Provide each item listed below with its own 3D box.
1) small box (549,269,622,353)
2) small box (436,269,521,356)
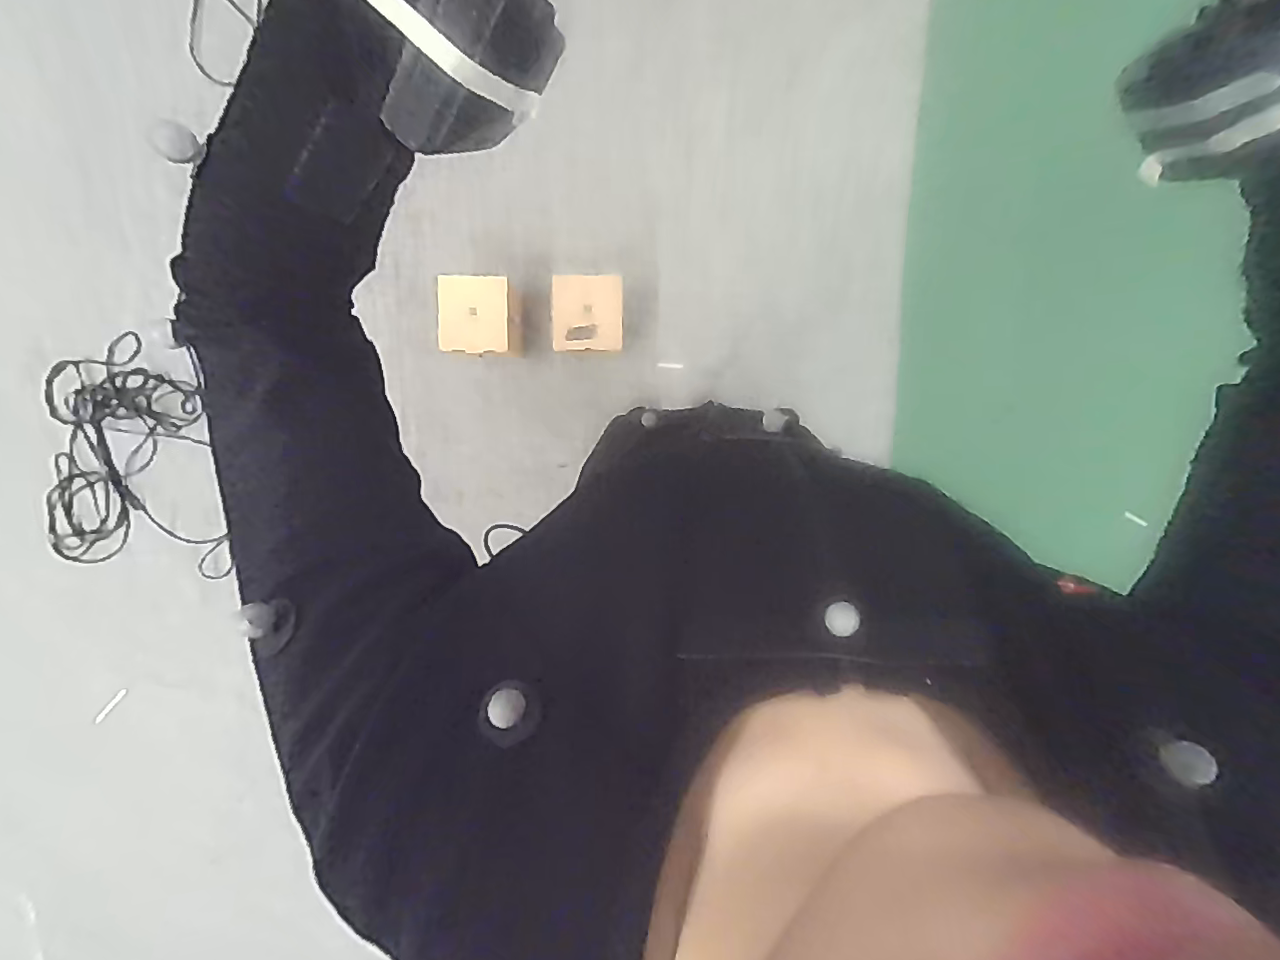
[{"bbox_3d":[-0.130,-0.411,1.342,0.168,0.176,0.179,0,96,0],"label":"small box"},{"bbox_3d":[-0.396,-0.411,1.344,0.168,0.176,0.179,1,97,0],"label":"small box"}]
